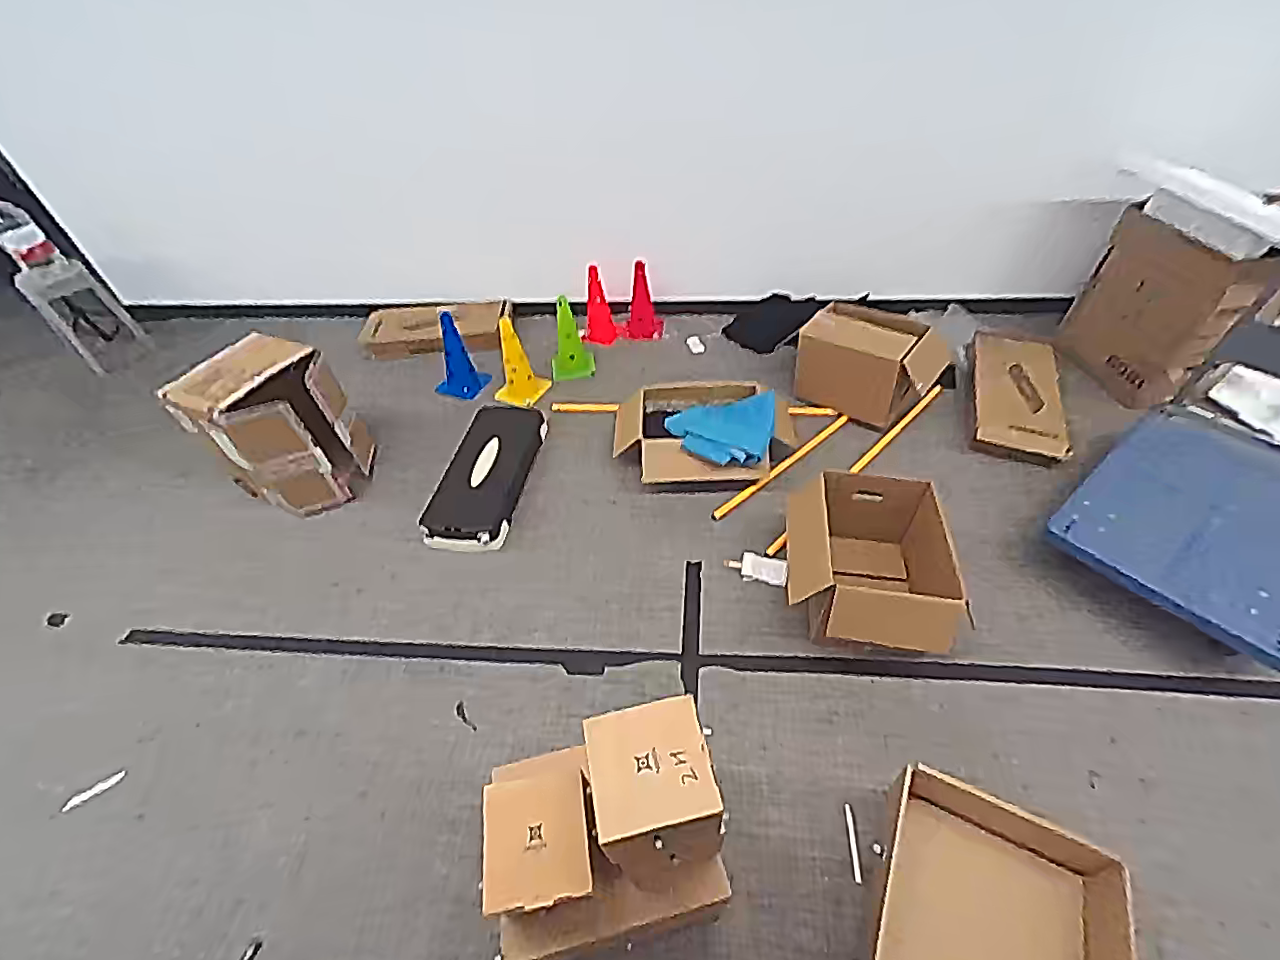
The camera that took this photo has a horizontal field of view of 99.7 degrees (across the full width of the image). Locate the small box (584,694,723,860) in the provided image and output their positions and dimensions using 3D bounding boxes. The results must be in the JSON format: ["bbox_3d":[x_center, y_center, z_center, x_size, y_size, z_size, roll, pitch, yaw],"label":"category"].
[{"bbox_3d":[0.020,0.458,0.829,0.179,0.176,0.168,-11,48,-6],"label":"small box"}]
